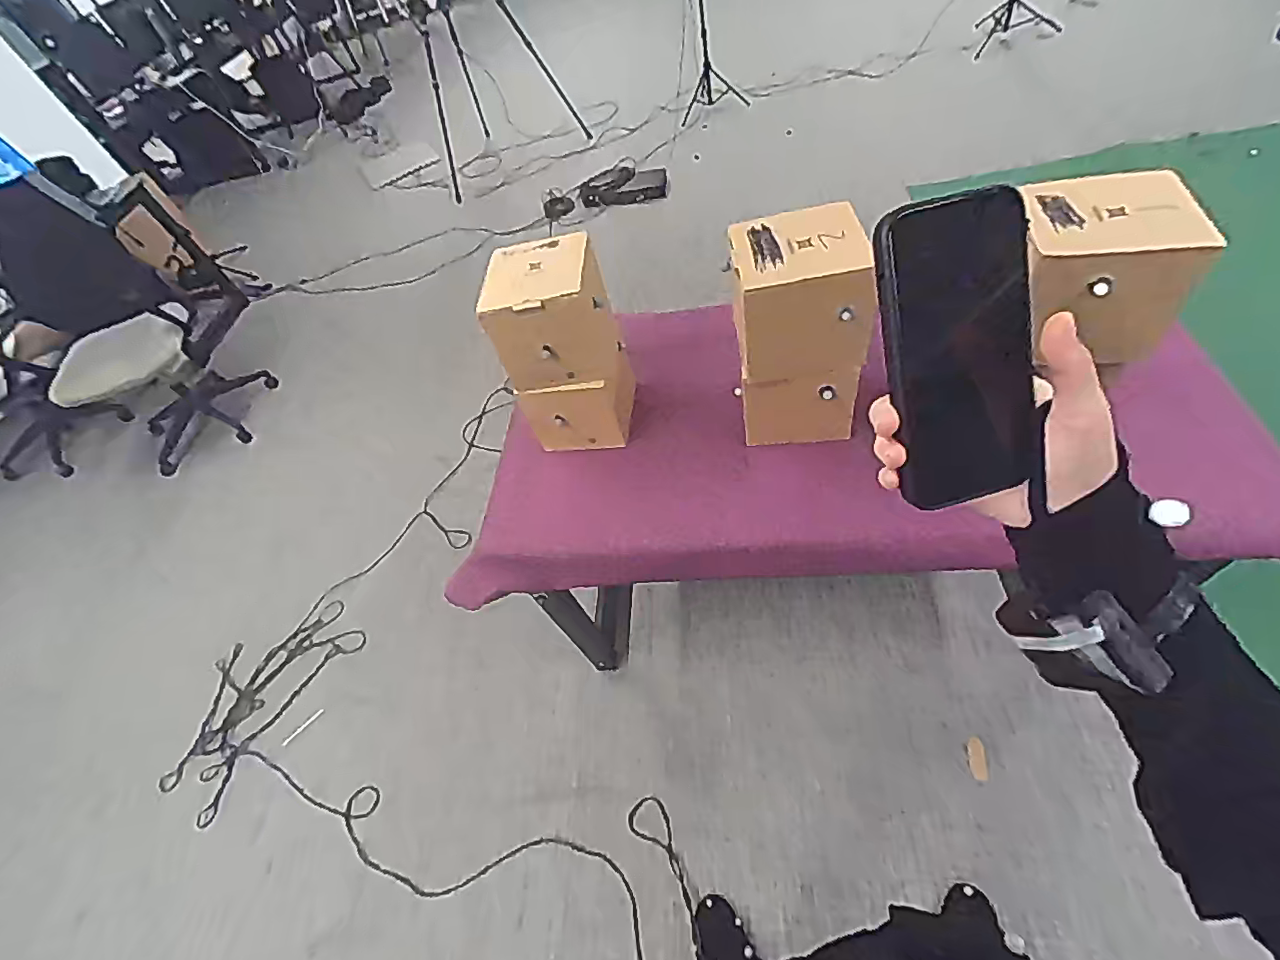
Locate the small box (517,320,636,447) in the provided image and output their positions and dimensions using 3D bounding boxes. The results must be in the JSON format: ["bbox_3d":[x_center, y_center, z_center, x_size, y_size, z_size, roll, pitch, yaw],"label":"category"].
[{"bbox_3d":[-0.109,-0.174,1.028,0.168,0.176,0.179,-3,54,13],"label":"small box"}]

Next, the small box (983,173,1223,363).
[{"bbox_3d":[0.571,-0.267,0.704,0.179,0.176,0.168,2,55,16],"label":"small box"}]

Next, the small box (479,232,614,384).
[{"bbox_3d":[-0.144,-0.276,0.904,0.168,0.176,0.179,-6,53,10],"label":"small box"}]

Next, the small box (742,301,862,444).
[{"bbox_3d":[0.269,-0.178,0.927,0.179,0.176,0.168,-3,53,13],"label":"small box"}]
